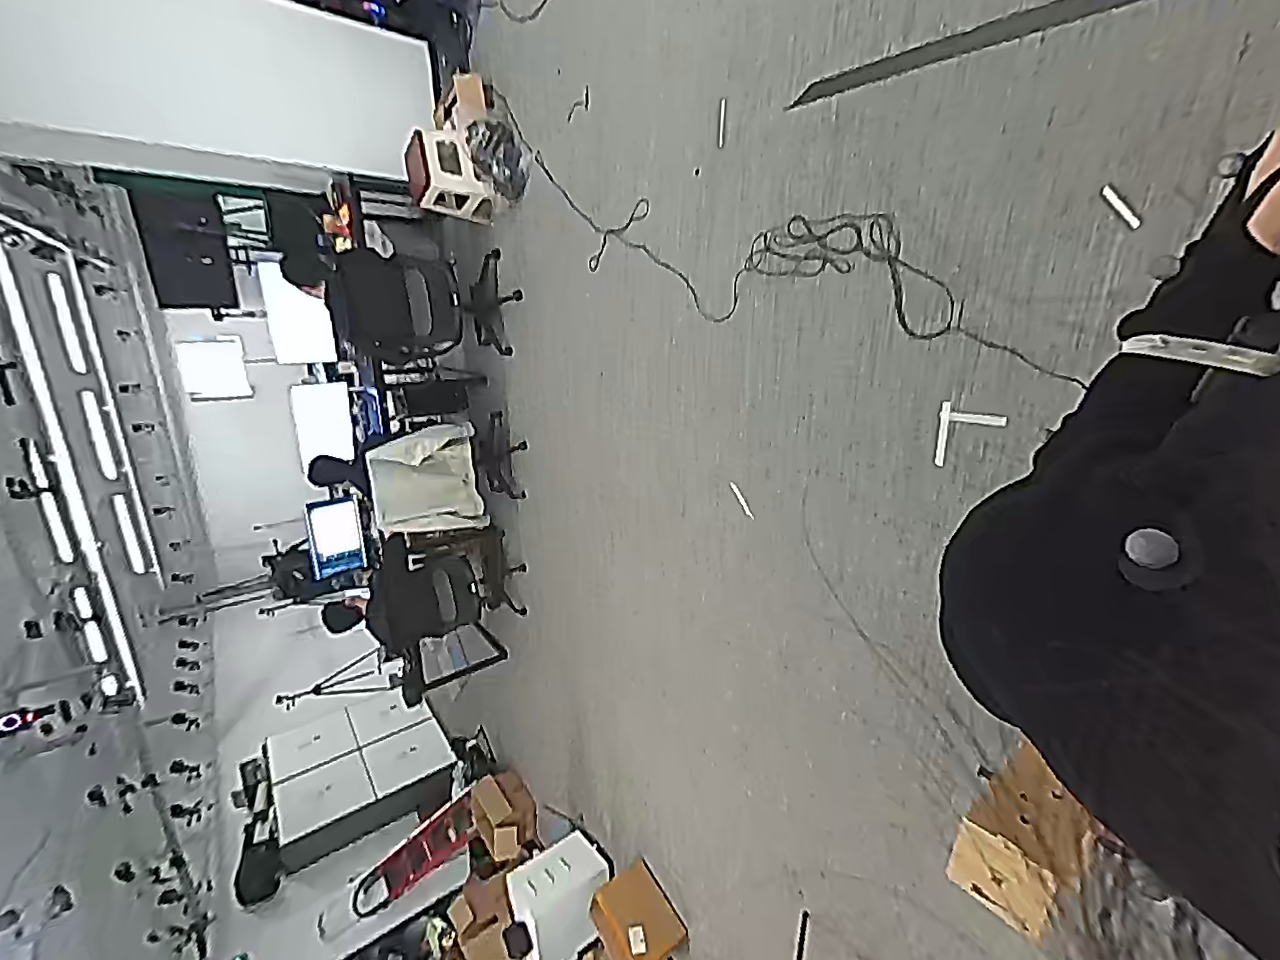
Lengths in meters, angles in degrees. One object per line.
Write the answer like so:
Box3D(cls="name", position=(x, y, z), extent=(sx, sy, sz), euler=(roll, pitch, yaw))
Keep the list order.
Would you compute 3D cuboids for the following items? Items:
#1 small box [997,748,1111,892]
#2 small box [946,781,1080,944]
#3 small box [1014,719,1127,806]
Box3D(cls="small box", position=(0.896, 0.734, 1.194), extent=(0.179, 0.176, 0.168), euler=(24, 118, 47))
Box3D(cls="small box", position=(0.762, 0.765, 1.104), extent=(0.168, 0.176, 0.179), euler=(24, 118, 48))
Box3D(cls="small box", position=(1.021, 0.706, 1.298), extent=(0.179, 0.176, 0.168), euler=(21, 117, 48))
